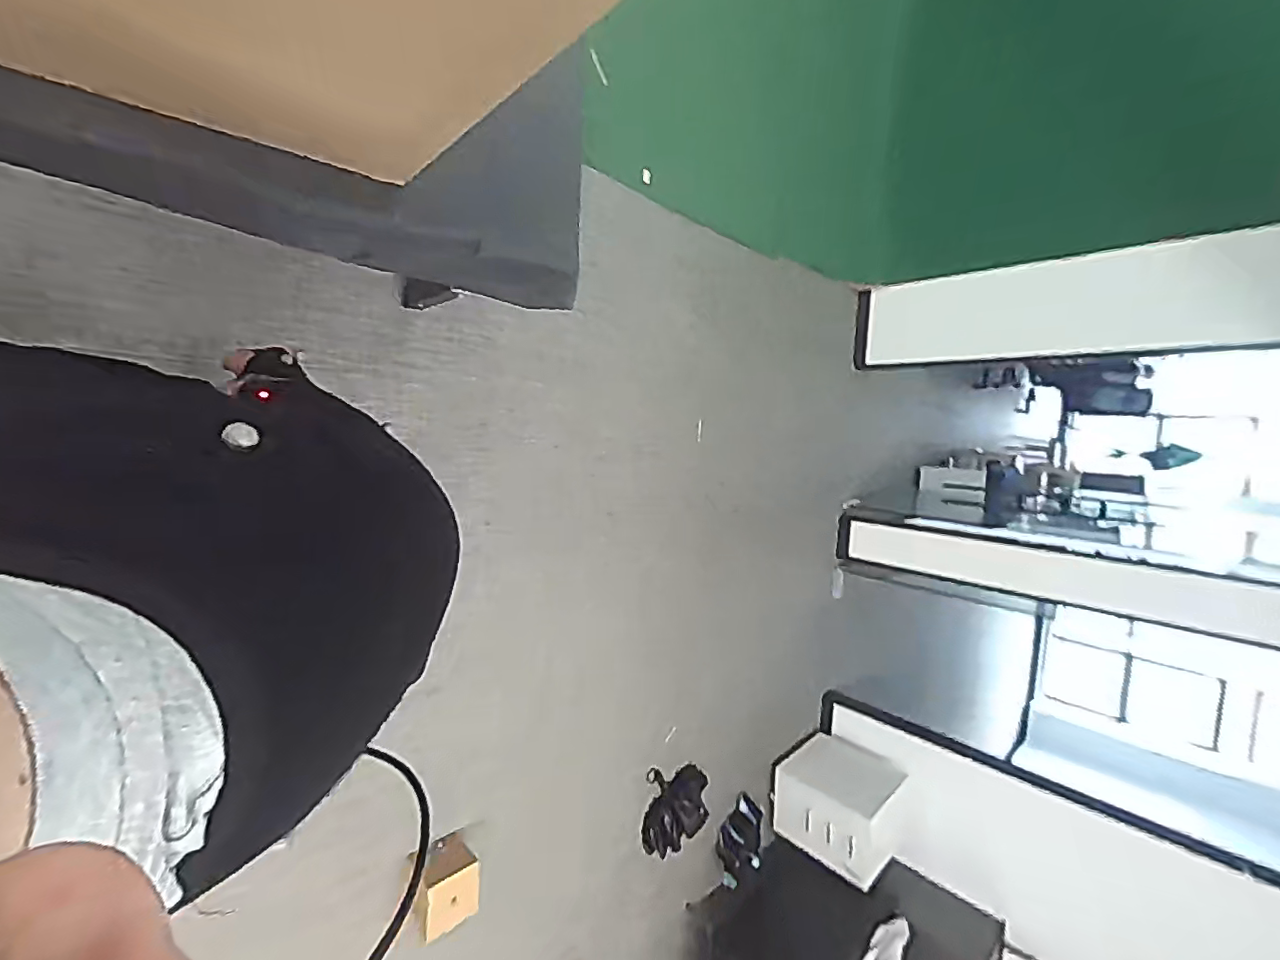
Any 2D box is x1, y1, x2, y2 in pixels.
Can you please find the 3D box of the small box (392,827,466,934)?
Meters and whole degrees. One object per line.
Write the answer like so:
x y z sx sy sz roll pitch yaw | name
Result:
-0.664 1.246 1.699 0.168 0.176 0.179 -4 98 -46 | small box
